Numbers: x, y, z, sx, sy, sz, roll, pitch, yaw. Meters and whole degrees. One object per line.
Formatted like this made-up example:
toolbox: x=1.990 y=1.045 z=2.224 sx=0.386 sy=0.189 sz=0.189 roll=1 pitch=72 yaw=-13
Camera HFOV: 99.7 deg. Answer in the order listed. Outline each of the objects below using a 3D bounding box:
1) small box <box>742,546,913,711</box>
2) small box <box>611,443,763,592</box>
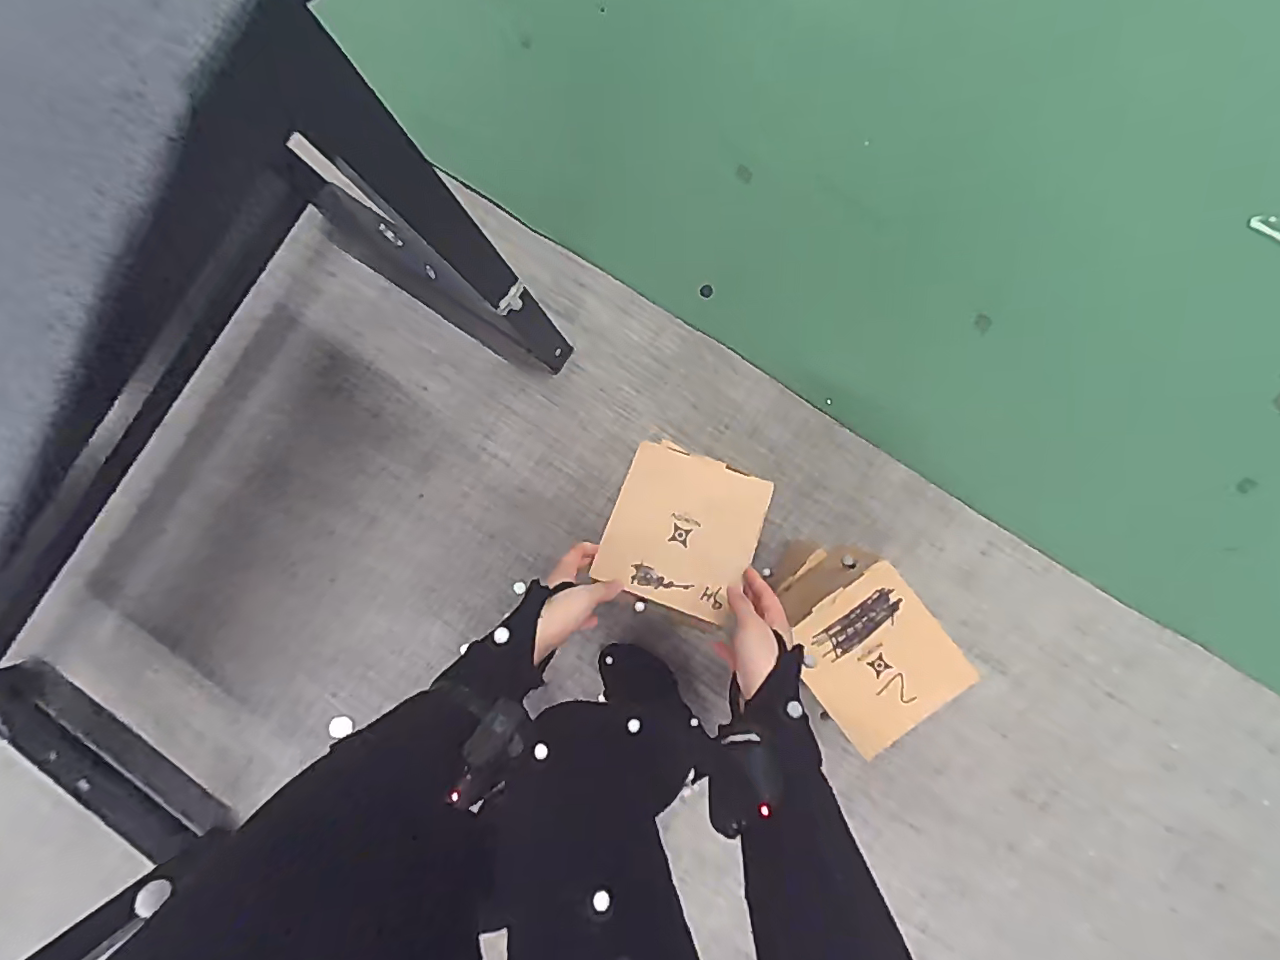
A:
small box: x=0.285 y=0.222 z=0.867 sx=0.179 sy=0.176 sz=0.168 roll=43 pitch=92 yaw=4
small box: x=0.078 y=0.057 z=0.894 sx=0.179 sy=0.176 sz=0.168 roll=33 pitch=91 yaw=7
